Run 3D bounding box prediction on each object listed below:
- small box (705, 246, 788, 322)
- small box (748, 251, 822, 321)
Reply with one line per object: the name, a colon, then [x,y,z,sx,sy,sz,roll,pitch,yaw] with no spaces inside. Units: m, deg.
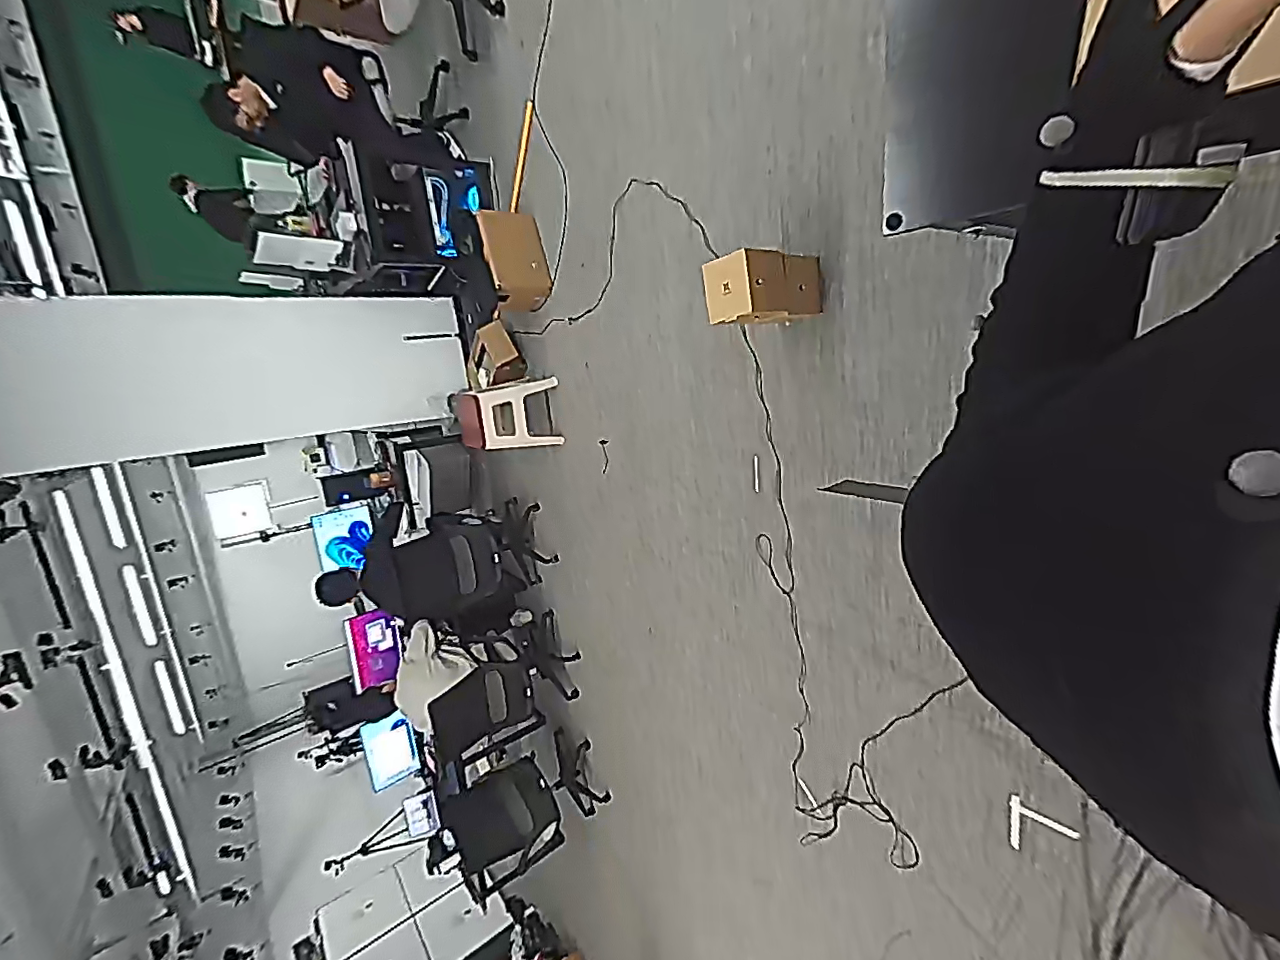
small box: [0.314,-0.567,1.577,0.168,0.176,0.179,2,102,52]
small box: [0.443,-0.594,1.674,0.168,0.176,0.179,6,107,52]
